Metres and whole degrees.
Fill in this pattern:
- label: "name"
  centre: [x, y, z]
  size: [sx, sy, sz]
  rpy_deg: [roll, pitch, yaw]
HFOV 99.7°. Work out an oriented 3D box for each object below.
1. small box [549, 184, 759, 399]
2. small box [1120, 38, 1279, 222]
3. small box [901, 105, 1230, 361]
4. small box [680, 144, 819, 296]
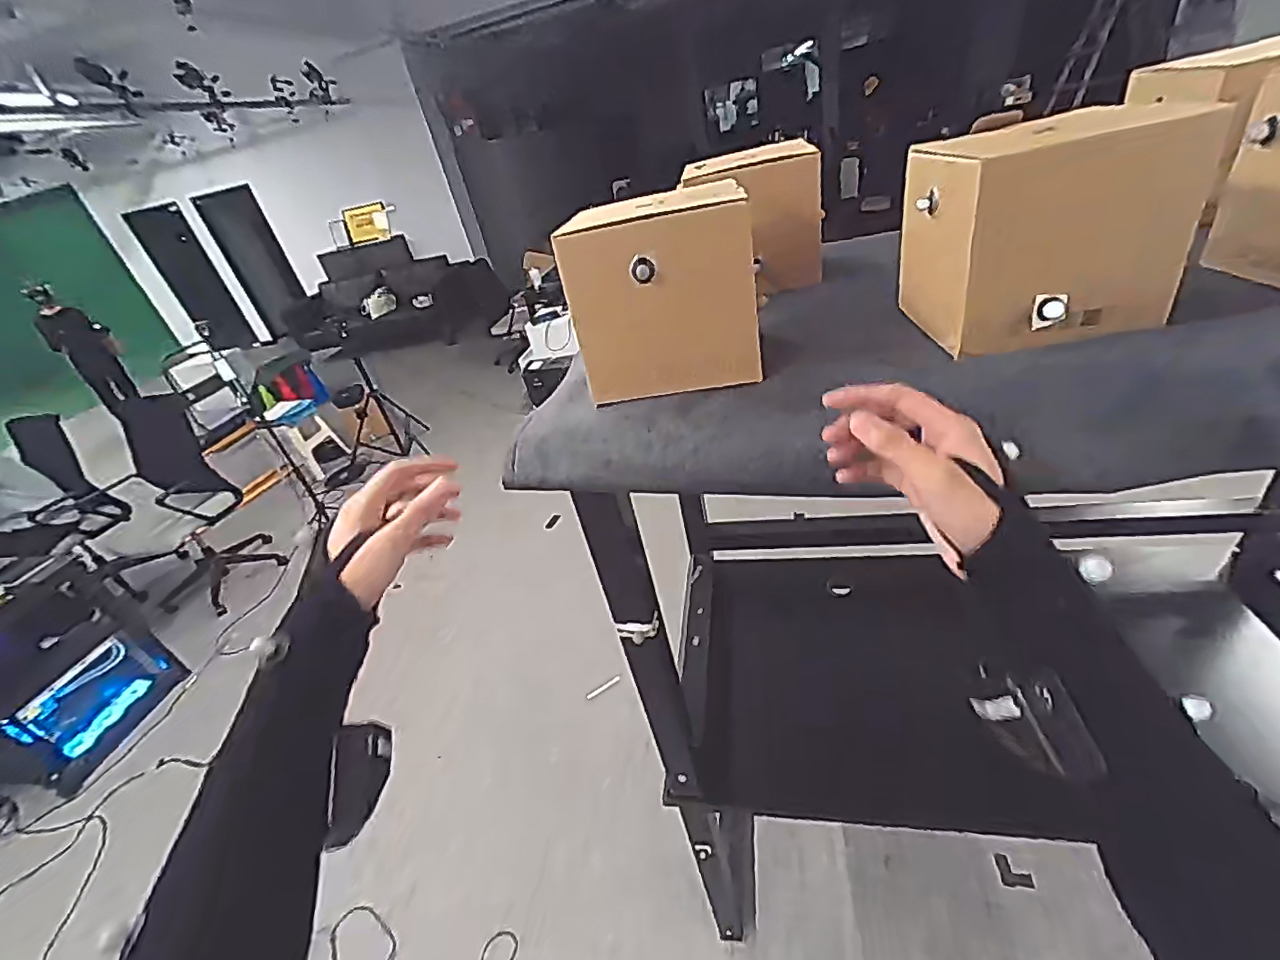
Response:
- label: "small box"
  centre: [0.025, -0.196, 0.569]
  size: [0.179, 0.176, 0.168]
  rpy_deg: [-6, 33, 9]
- label: "small box"
  centre: [0.720, -0.420, 0.662]
  size: [0.168, 0.176, 0.179]
  rpy_deg: [-5, 34, 13]
- label: "small box"
  centre: [0.354, -0.225, 0.500]
  size: [0.168, 0.176, 0.179]
  rpy_deg: [-7, 32, 11]
- label: "small box"
  centre: [0.159, -0.371, 0.789]
  size: [0.179, 0.176, 0.168]
  rpy_deg: [-5, 34, 11]
